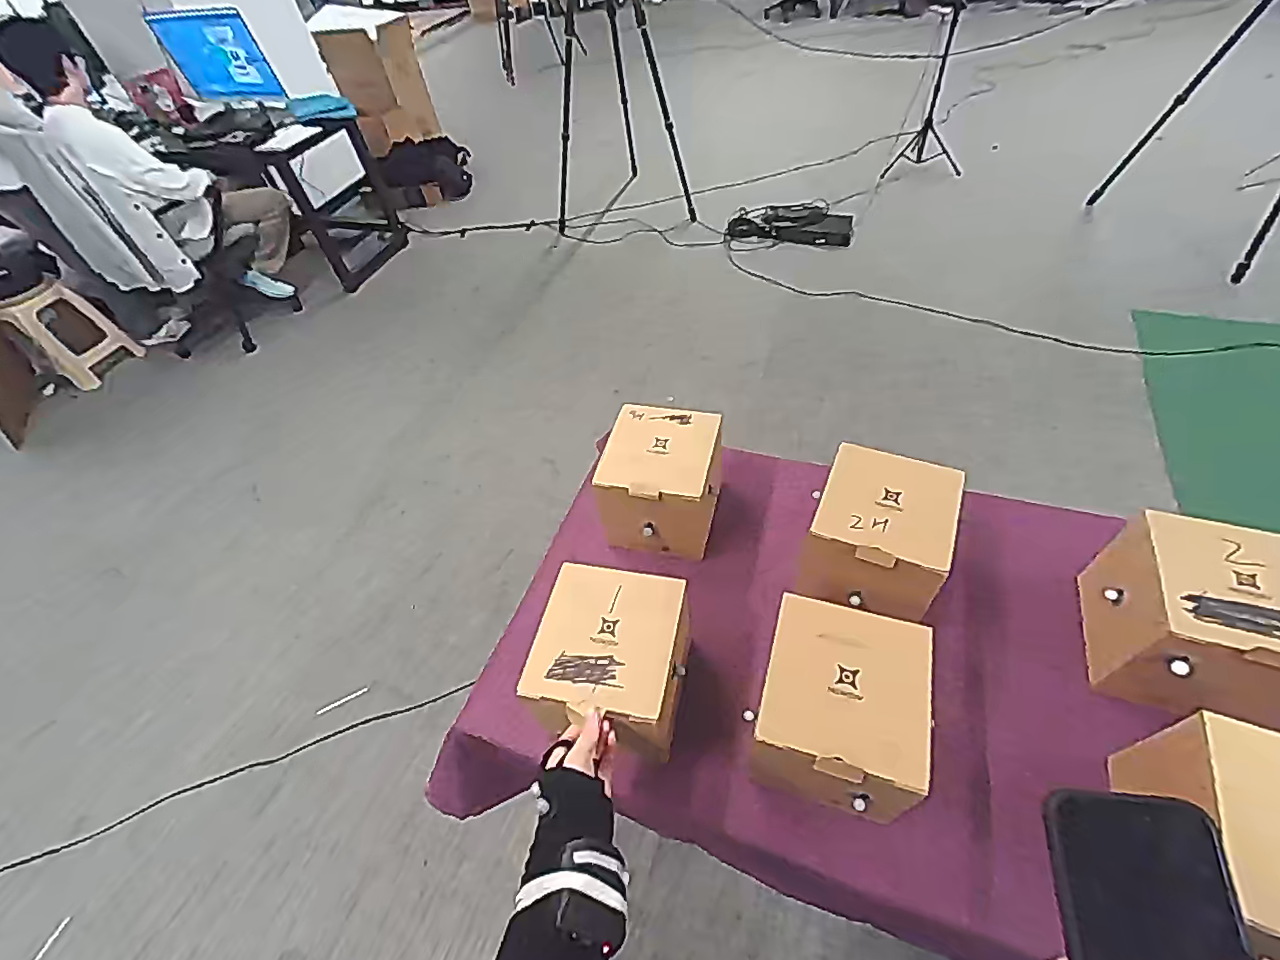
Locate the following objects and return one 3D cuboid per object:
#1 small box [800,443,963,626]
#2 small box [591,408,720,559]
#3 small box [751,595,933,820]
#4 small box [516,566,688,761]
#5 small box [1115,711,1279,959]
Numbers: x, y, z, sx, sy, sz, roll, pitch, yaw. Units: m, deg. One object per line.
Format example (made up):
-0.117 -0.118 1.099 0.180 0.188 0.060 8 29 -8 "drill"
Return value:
0.336 0.081 0.772 0.168 0.176 0.179 17 55 22 "small box"
0.036 0.008 0.881 0.168 0.176 0.179 8 53 14 "small box"
0.228 0.268 0.633 0.168 0.176 0.179 11 52 17 "small box"
-0.033 0.238 0.696 0.168 0.176 0.179 6 50 13 "small box"
0.585 0.354 0.503 0.168 0.176 0.179 15 54 21 "small box"
